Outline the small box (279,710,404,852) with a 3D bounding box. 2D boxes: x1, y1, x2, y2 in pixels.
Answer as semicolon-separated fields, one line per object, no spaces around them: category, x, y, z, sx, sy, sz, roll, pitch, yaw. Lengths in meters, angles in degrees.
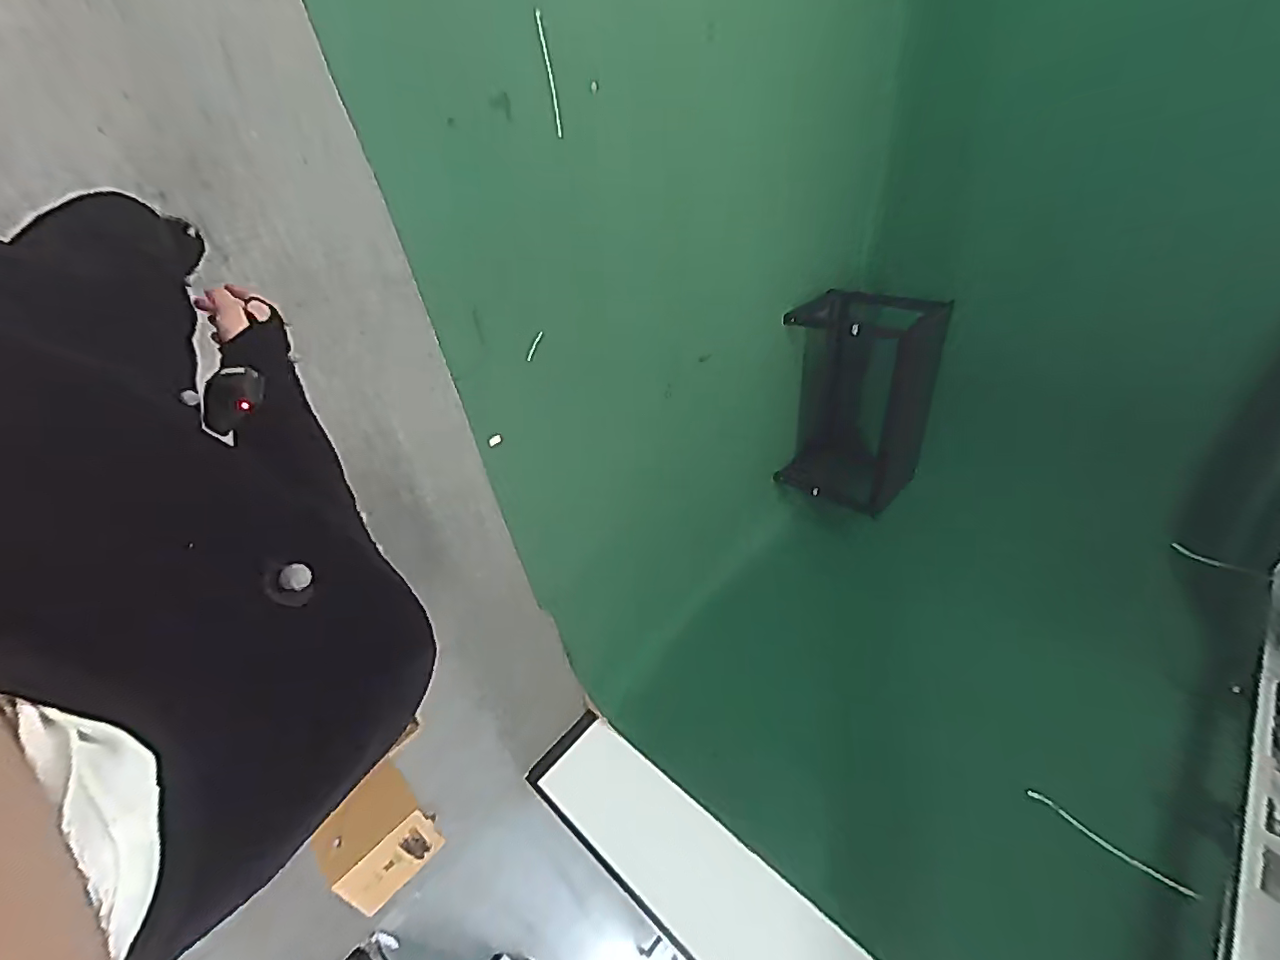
small box;-0.666;0.656;1.194;0.179;0.176;0.168;-38;135;-34
